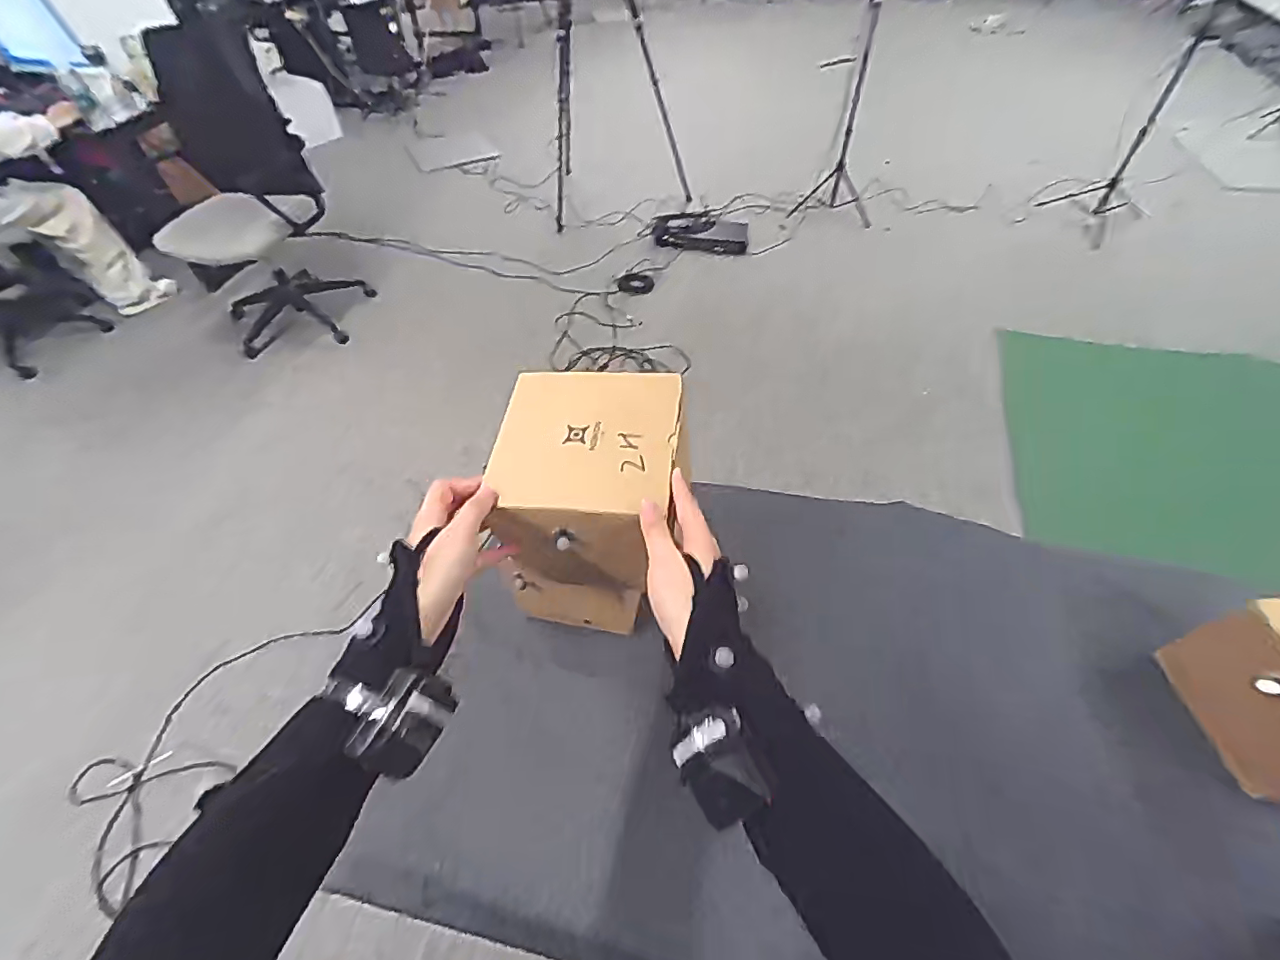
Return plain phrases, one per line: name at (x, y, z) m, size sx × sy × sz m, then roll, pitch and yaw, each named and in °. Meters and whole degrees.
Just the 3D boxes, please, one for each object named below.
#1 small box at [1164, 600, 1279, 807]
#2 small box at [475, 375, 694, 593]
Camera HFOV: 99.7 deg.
small box at (0.756, 0.244, 0.595) m, size 0.168 × 0.176 × 0.179 m, roll -5°, pitch 52°, yaw 3°
small box at (-0.040, 0.009, 0.563) m, size 0.179 × 0.176 × 0.168 m, roll 3°, pitch 59°, yaw 10°
